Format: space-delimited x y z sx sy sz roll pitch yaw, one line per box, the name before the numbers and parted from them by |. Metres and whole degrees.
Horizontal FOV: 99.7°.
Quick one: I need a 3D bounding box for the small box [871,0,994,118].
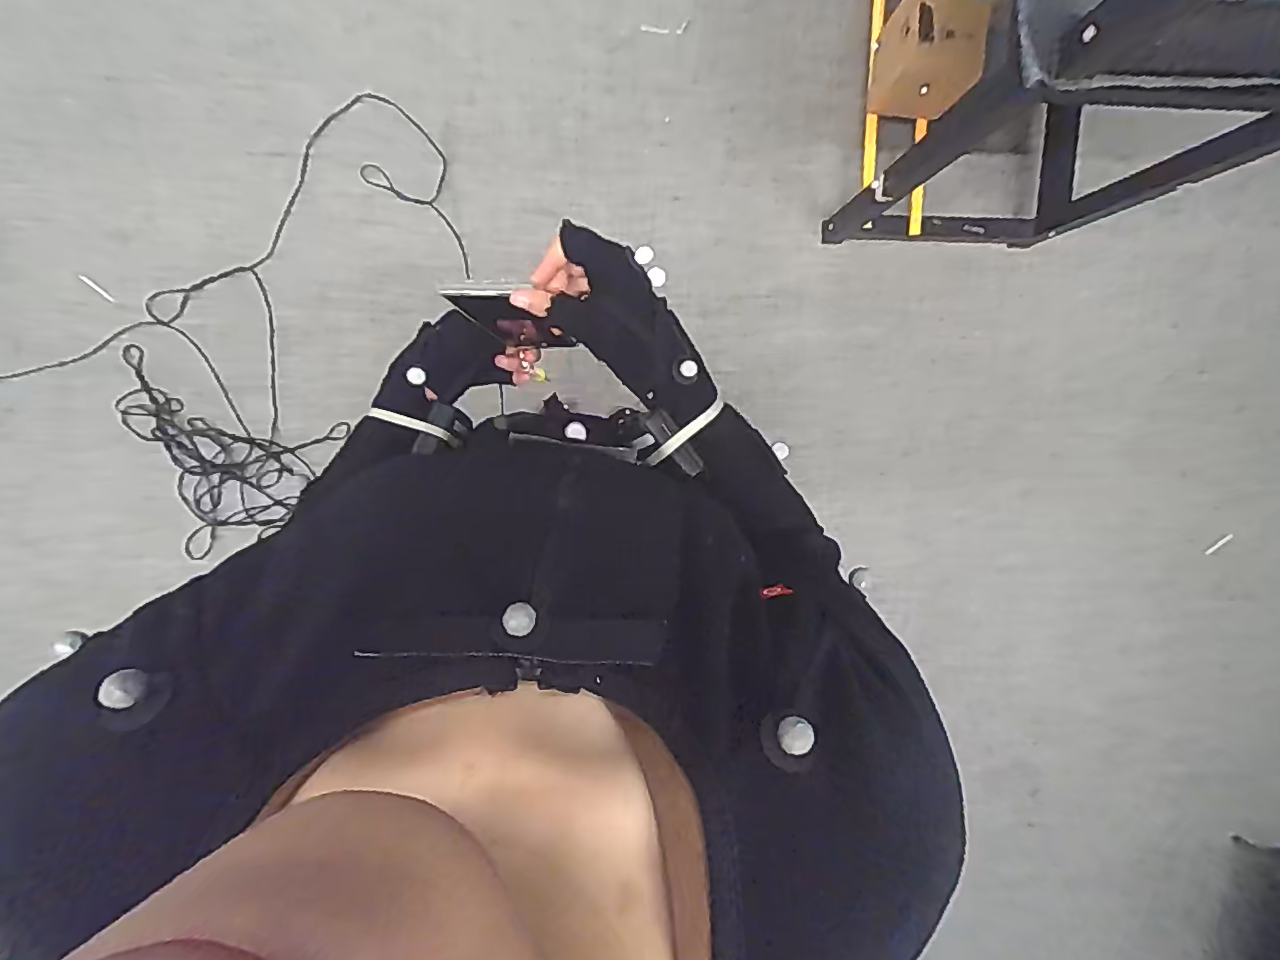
small box | 0.639 -0.940 1.203 0.179 0.176 0.168 3 97 -3
